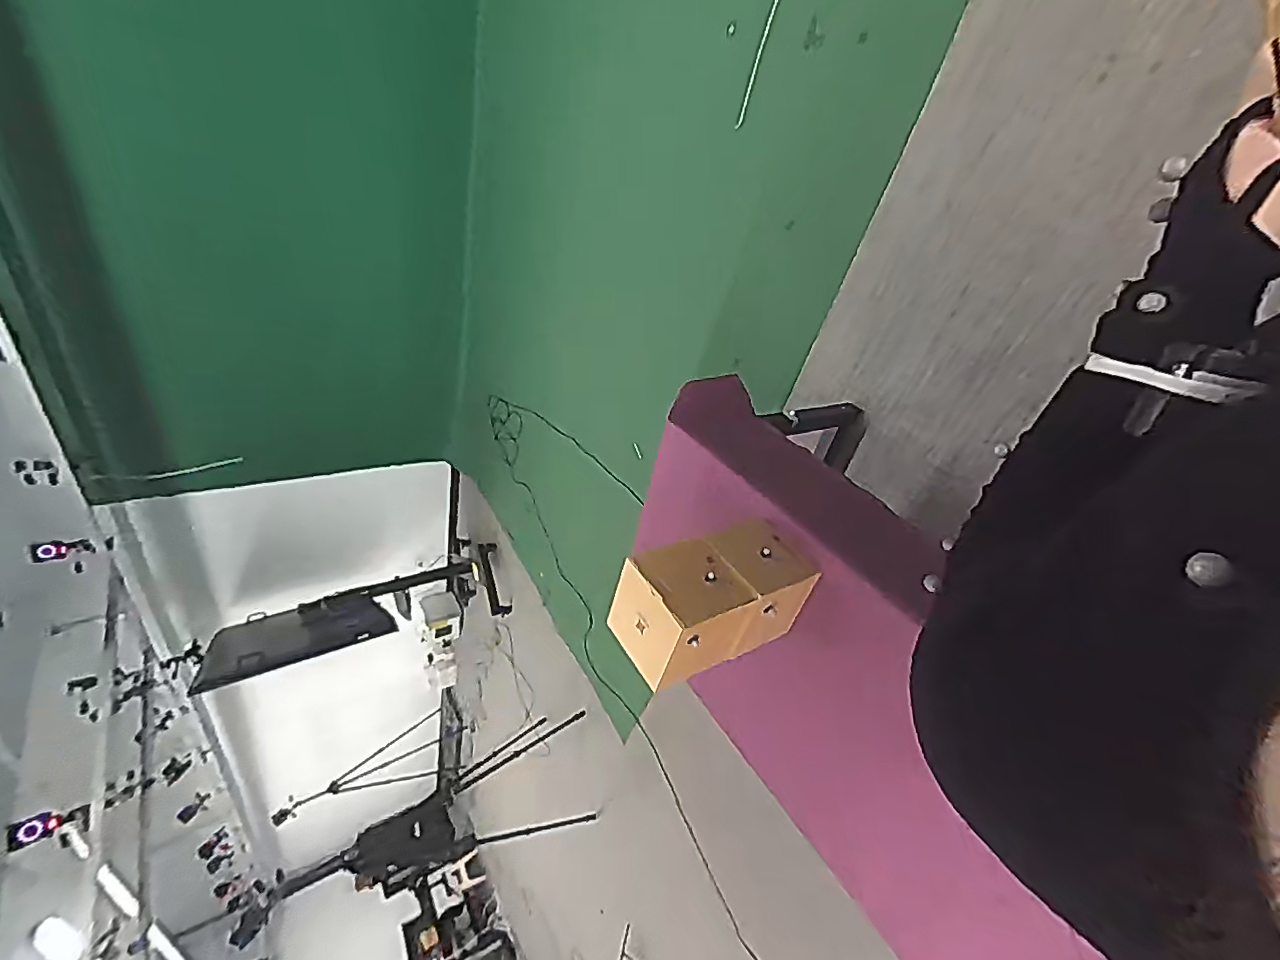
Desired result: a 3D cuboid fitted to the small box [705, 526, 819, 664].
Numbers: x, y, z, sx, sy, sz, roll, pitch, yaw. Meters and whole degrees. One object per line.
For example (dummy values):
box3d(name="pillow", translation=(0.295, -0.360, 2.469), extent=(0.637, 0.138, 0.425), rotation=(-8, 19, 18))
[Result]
box3d(name="small box", translation=(0.213, 0.212, 1.039), extent=(0.168, 0.176, 0.179), rotation=(47, 134, 38))

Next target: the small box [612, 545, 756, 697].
box3d(name="small box", translation=(0.076, 0.241, 0.954), extent=(0.168, 0.176, 0.179), rotation=(46, 133, 38))
